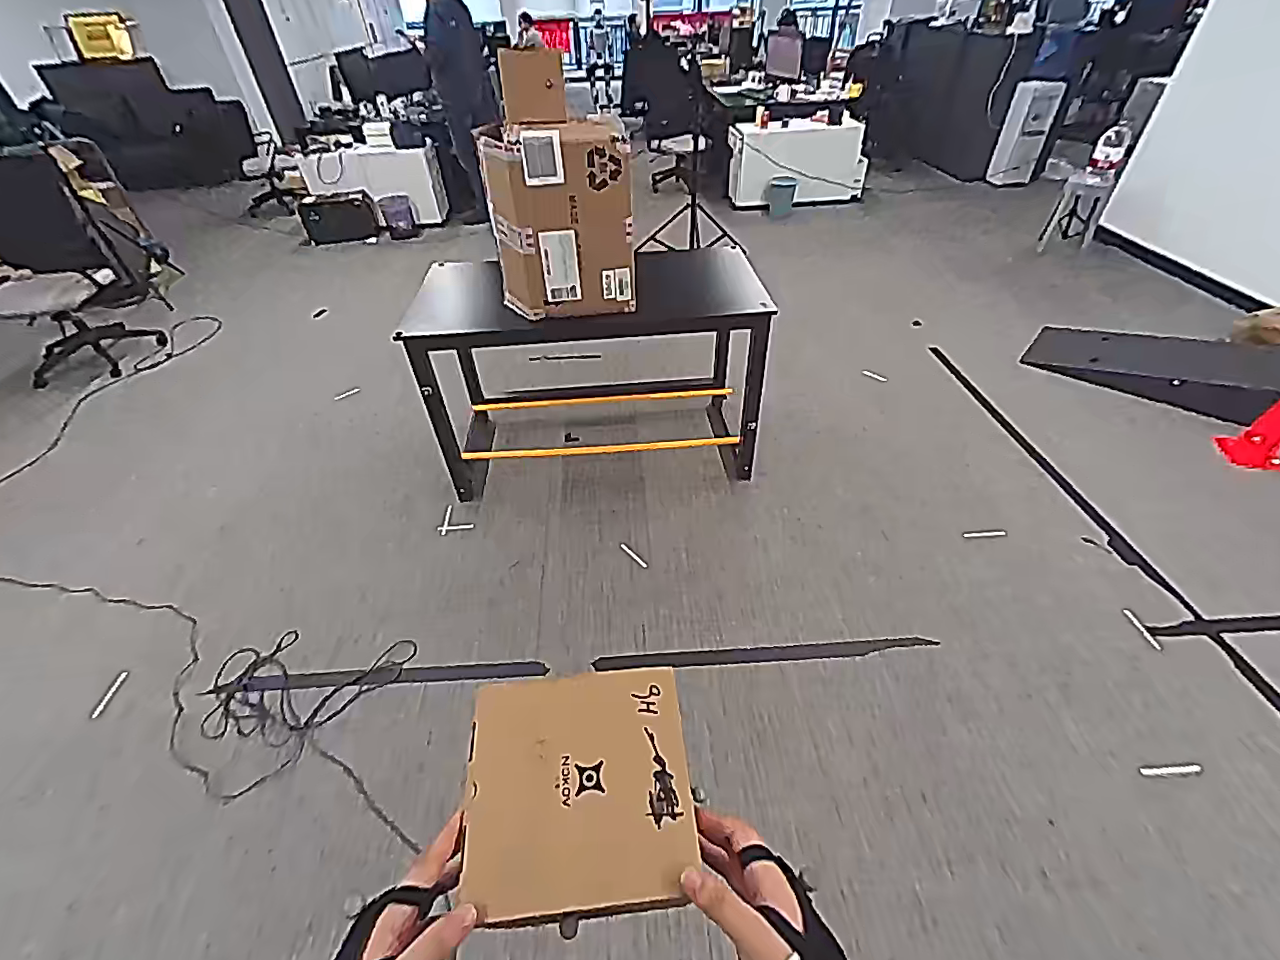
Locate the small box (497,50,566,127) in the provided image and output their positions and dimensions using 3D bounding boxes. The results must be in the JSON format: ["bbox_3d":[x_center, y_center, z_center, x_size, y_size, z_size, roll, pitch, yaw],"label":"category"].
[{"bbox_3d":[-0.307,-1.140,1.572,0.179,0.176,0.168,-6,39,-5],"label":"small box"}]

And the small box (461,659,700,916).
[{"bbox_3d":[-0.047,0.284,0.497,0.179,0.176,0.168,-5,49,-3],"label":"small box"}]
